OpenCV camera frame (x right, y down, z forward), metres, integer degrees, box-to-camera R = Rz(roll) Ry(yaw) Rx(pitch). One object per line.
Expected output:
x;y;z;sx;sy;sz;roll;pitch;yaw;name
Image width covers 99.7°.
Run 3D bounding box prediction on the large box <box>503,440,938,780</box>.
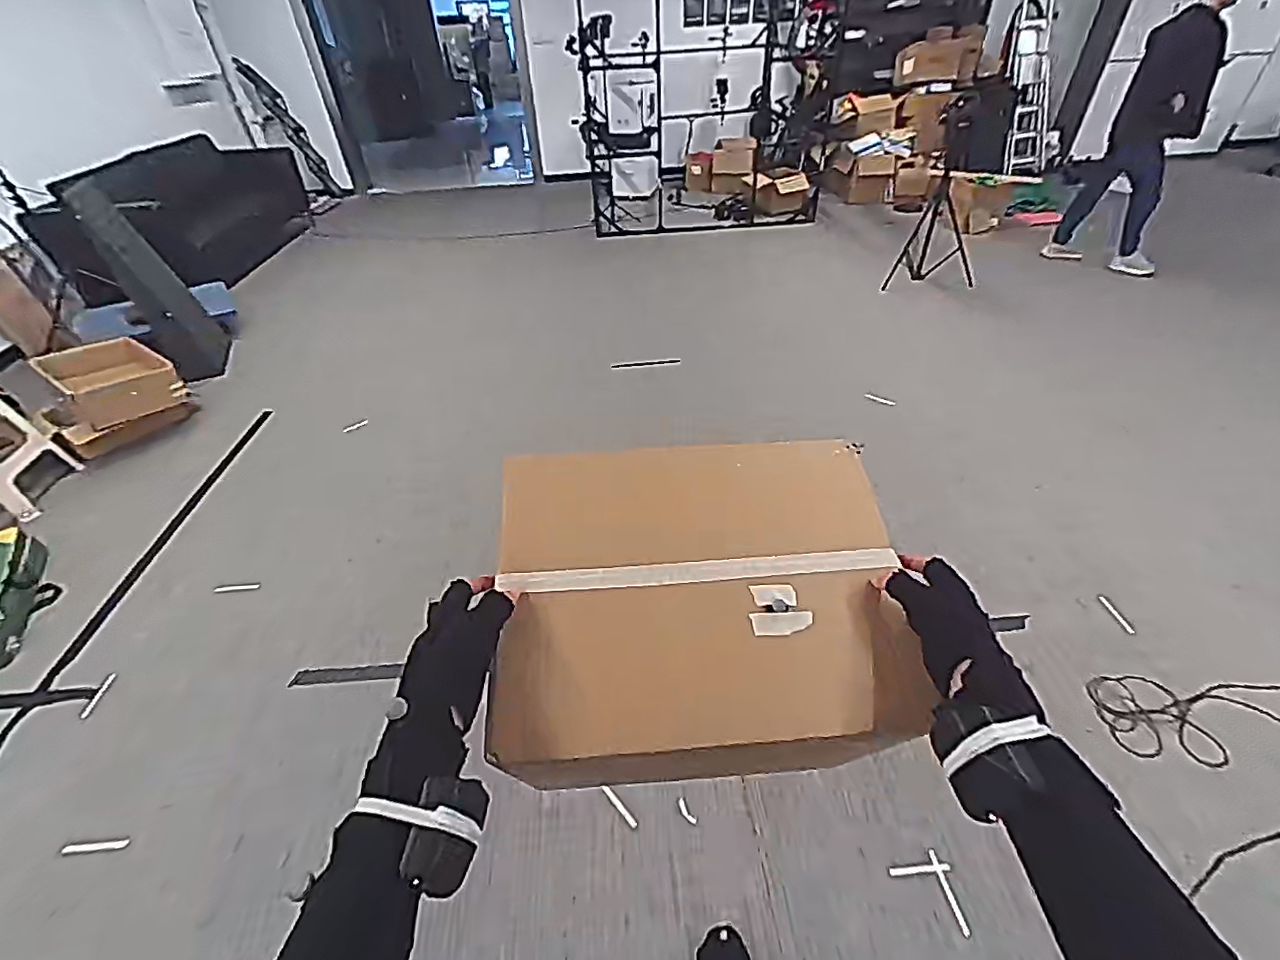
0.059;0.172;0.682;0.408;0.320;0.320;-3;57;-4;large box
